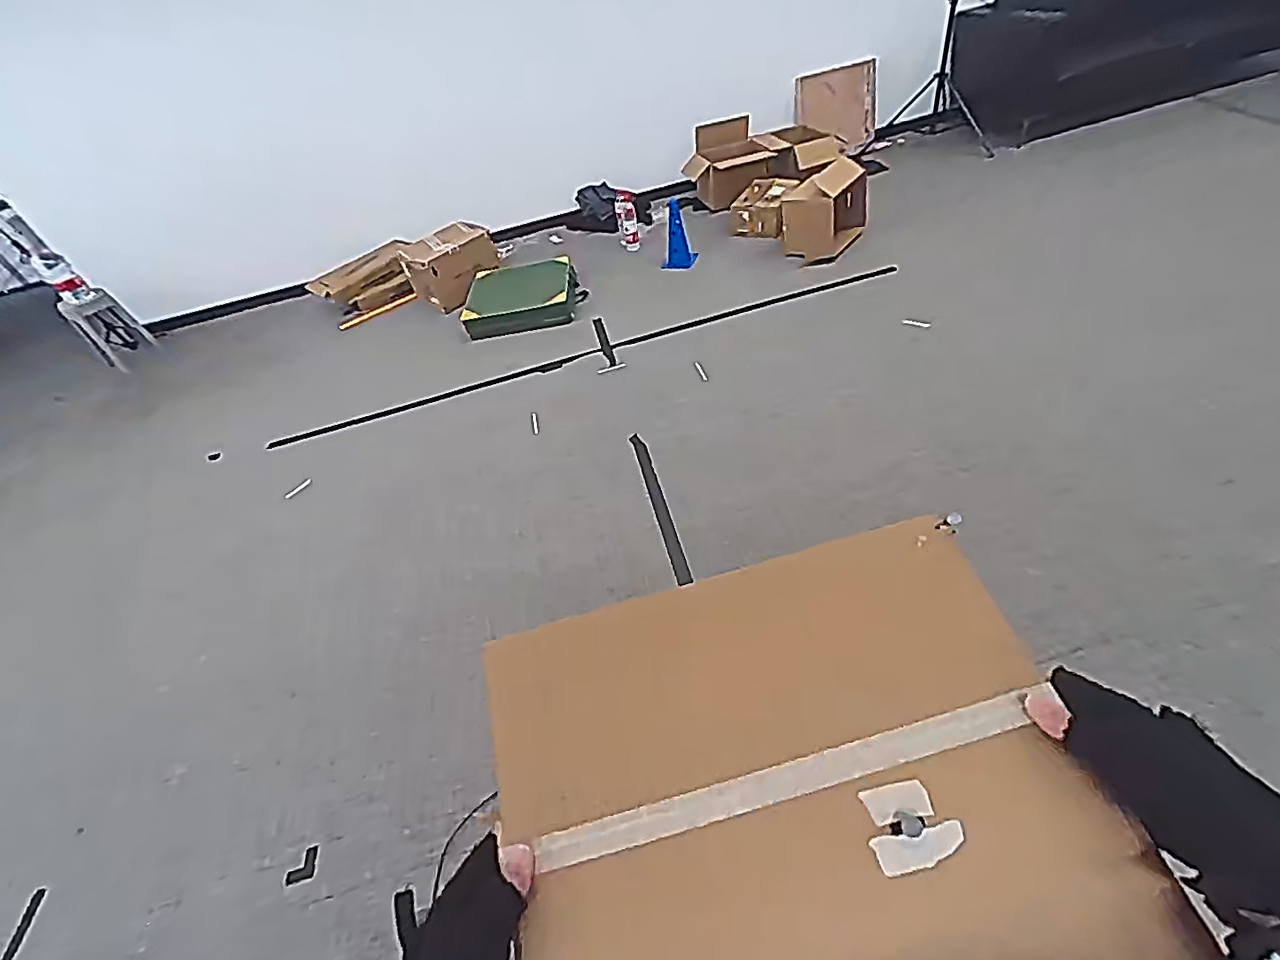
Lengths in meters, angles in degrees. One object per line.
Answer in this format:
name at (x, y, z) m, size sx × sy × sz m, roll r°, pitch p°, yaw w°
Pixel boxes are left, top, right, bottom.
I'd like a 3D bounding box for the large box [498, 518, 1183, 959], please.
large box at (0.121, 0.290, 0.523) m, size 0.408 × 0.320 × 0.320 m, roll -16°, pitch 59°, yaw -2°
